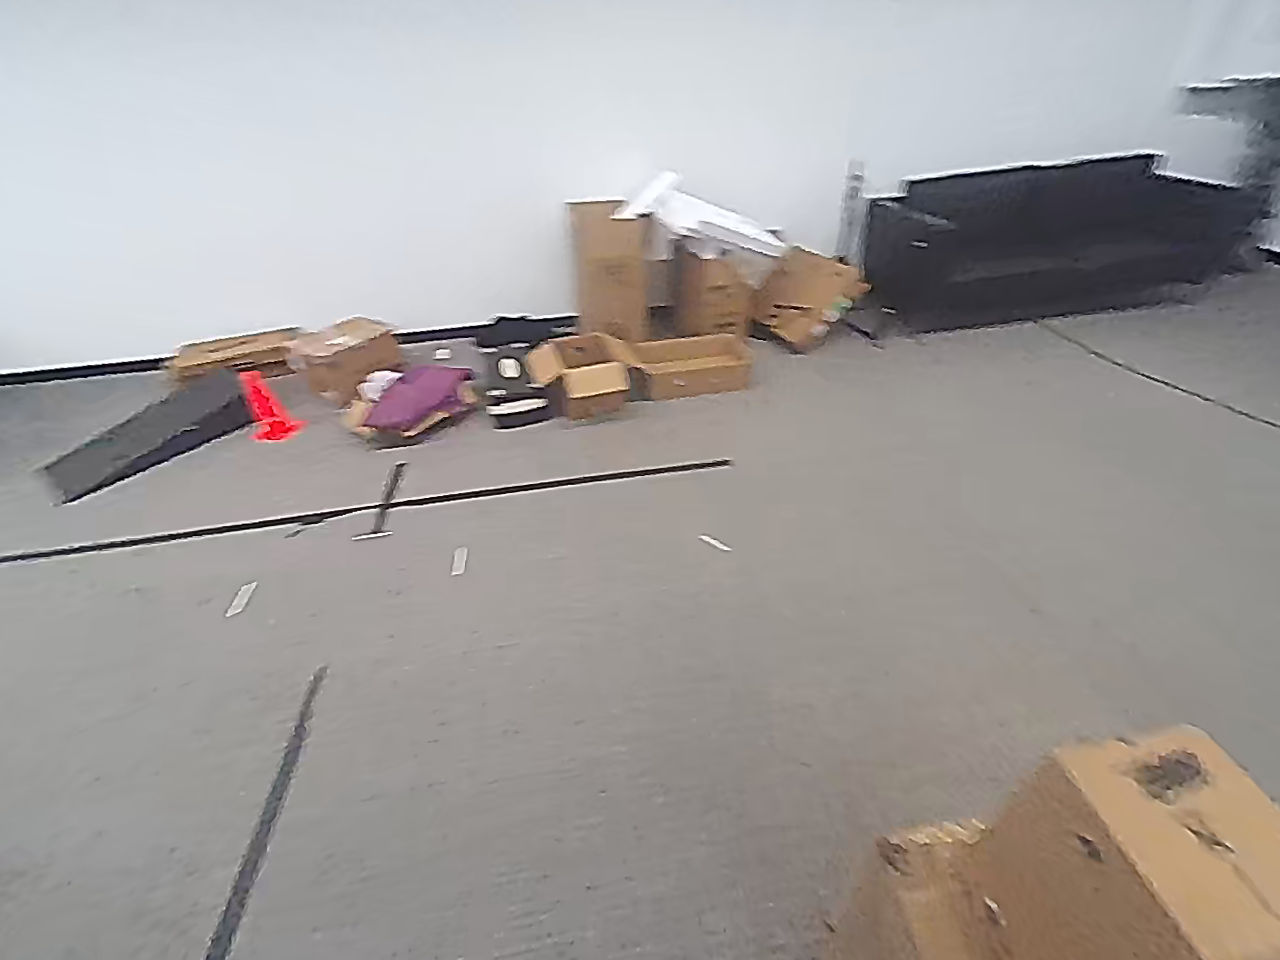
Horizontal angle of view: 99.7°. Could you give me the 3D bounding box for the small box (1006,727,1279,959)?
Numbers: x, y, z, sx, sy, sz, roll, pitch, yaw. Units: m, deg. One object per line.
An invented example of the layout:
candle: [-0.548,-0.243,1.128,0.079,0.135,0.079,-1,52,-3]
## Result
small box: [0.517,0.383,0.542,0.168,0.176,0.179,-8,38,-4]

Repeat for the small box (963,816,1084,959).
small box: [0.531,0.512,0.644,0.179,0.176,0.168,-8,37,-3]
